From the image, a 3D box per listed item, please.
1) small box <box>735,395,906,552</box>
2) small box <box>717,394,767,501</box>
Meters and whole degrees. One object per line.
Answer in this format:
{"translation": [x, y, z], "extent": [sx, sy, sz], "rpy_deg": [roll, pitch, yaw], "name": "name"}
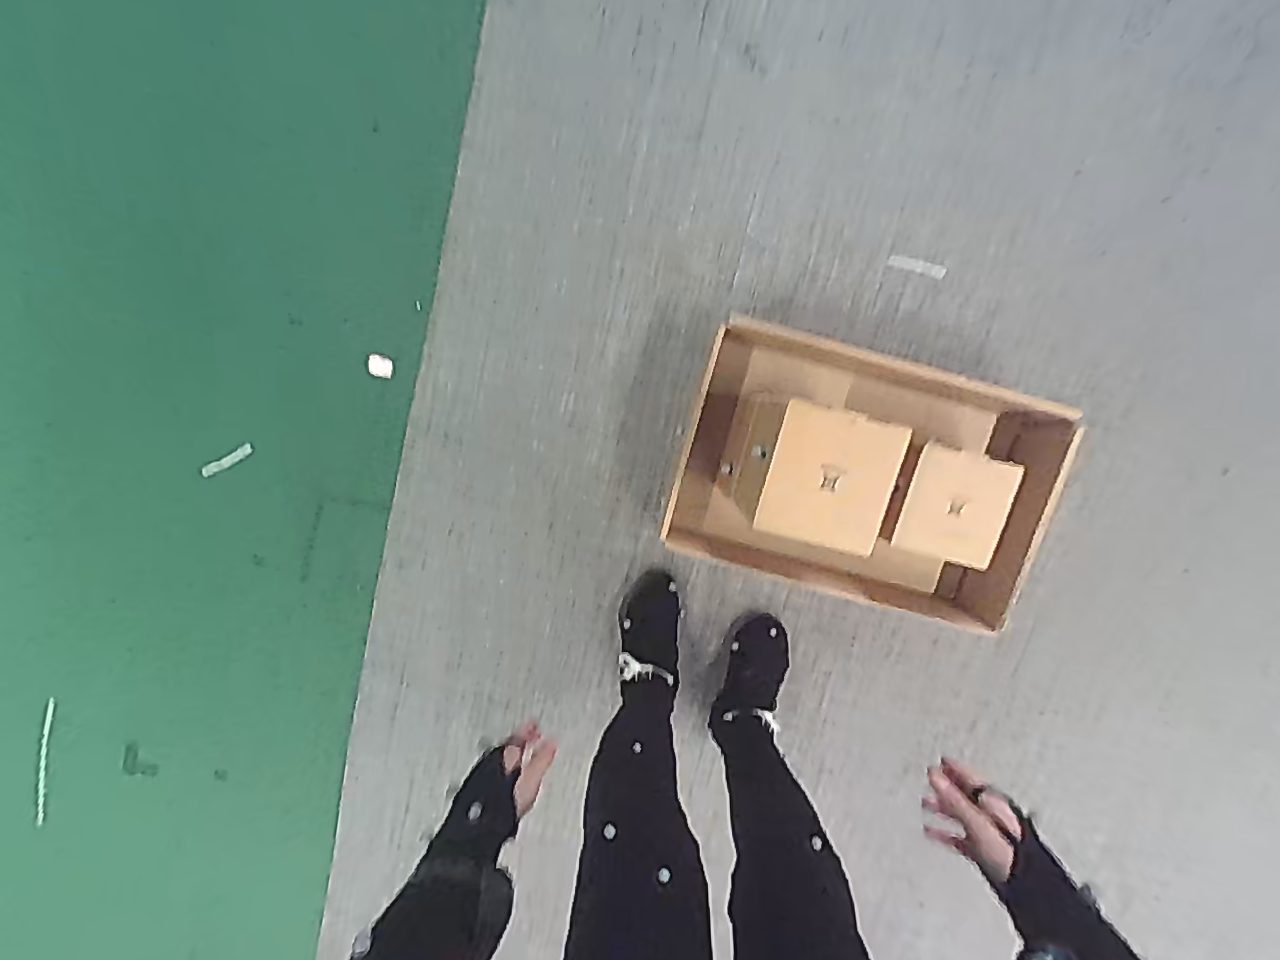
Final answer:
{"translation": [0.243, -0.018, 0.778], "extent": [0.168, 0.176, 0.179], "rpy_deg": [14, 98, -2], "name": "small box"}
{"translation": [0.239, -0.044, 0.938], "extent": [0.168, 0.176, 0.179], "rpy_deg": [15, 98, -3], "name": "small box"}
